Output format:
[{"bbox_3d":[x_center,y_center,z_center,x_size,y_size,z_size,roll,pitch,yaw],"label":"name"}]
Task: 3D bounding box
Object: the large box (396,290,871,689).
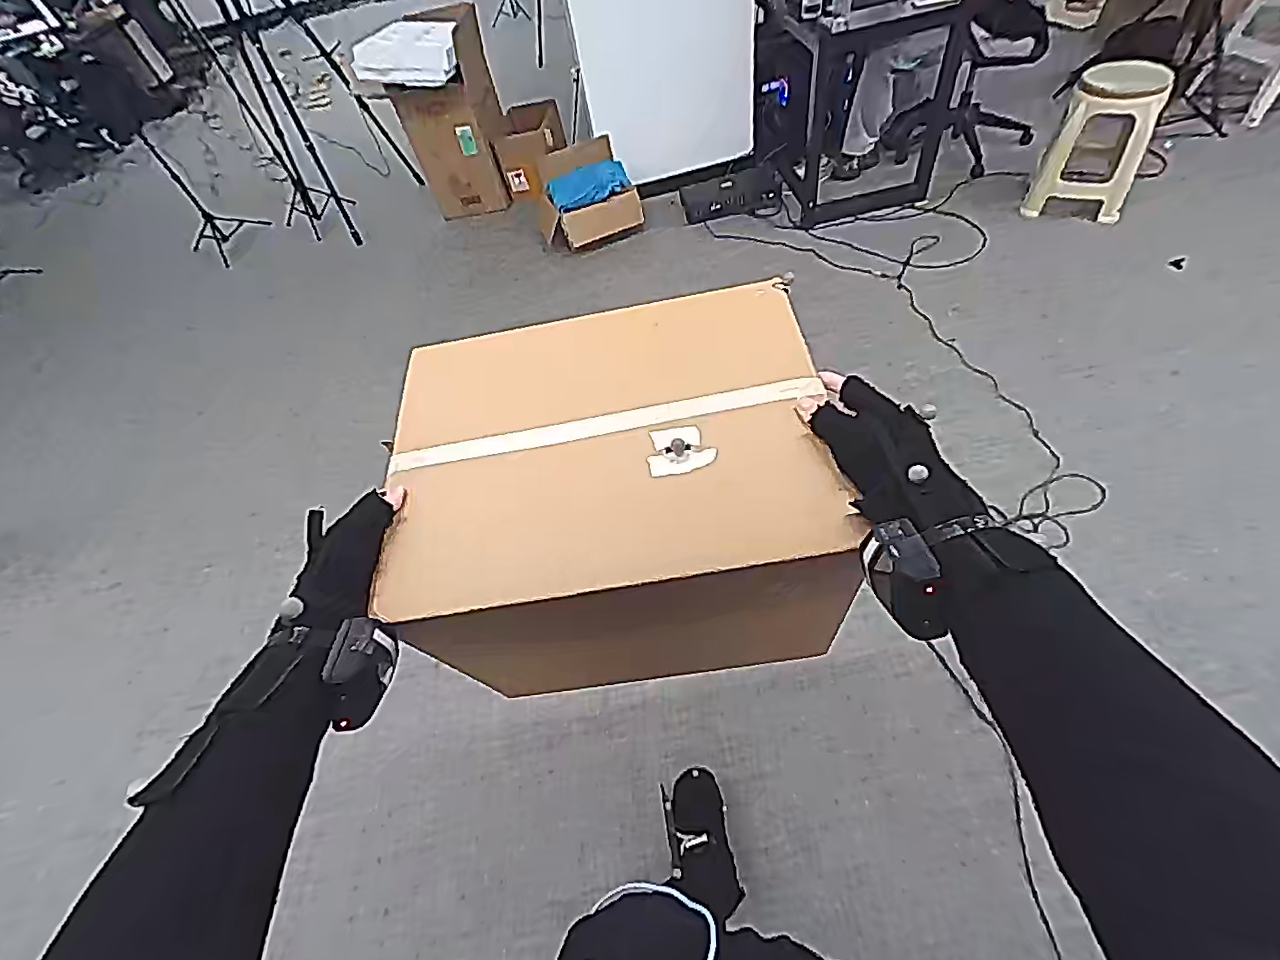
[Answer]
[{"bbox_3d":[-0.007,0.031,0.642,0.408,0.320,0.320,-9,58,3],"label":"large box"}]
